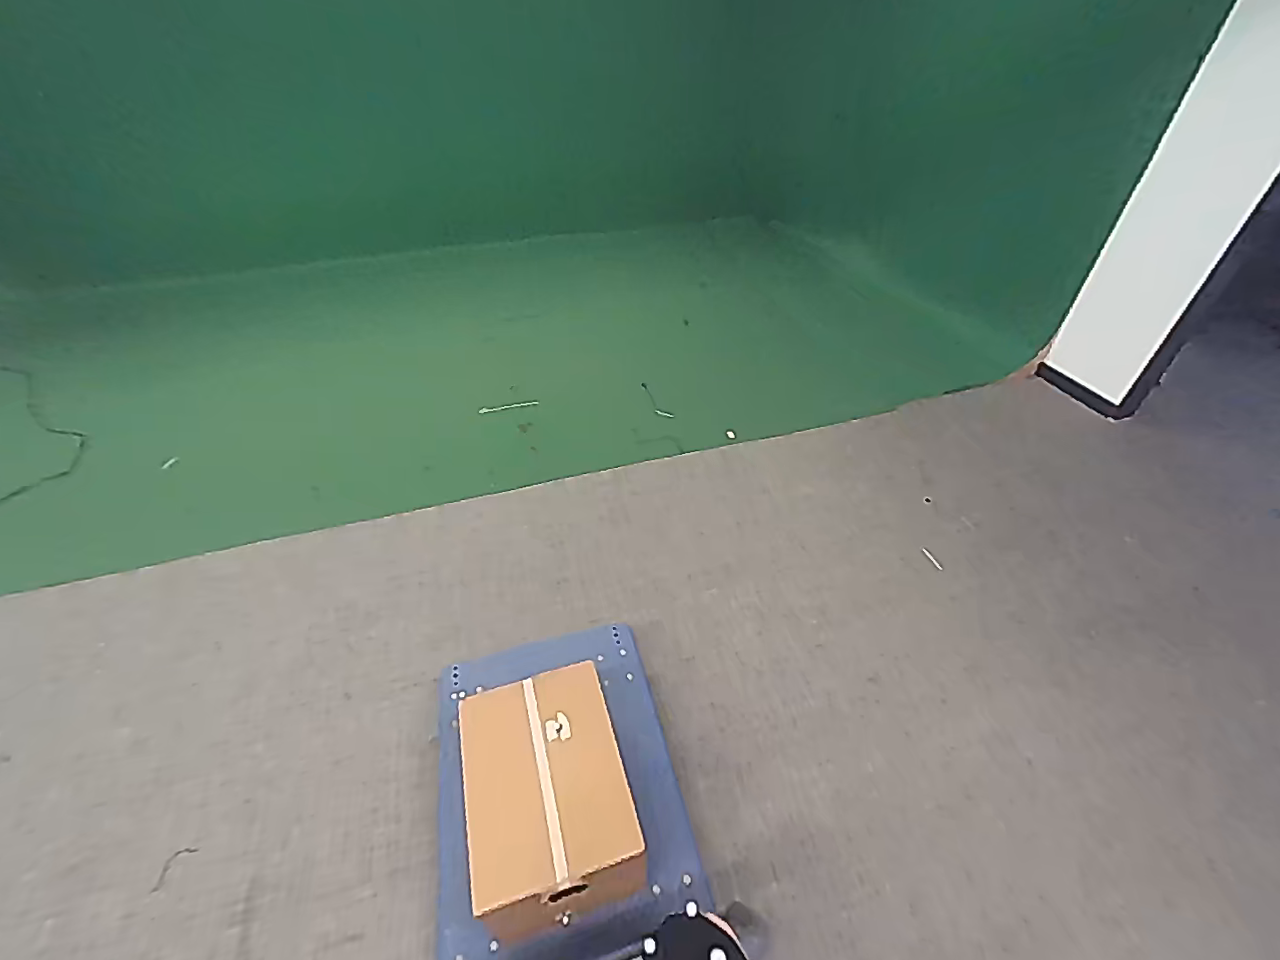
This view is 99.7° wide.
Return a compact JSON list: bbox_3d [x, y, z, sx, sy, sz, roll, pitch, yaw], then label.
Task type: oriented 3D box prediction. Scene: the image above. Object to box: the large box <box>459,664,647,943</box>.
[{"bbox_3d":[-0.193,0.703,1.203,0.320,0.320,0.408,-13,43,-13],"label":"large box"}]
